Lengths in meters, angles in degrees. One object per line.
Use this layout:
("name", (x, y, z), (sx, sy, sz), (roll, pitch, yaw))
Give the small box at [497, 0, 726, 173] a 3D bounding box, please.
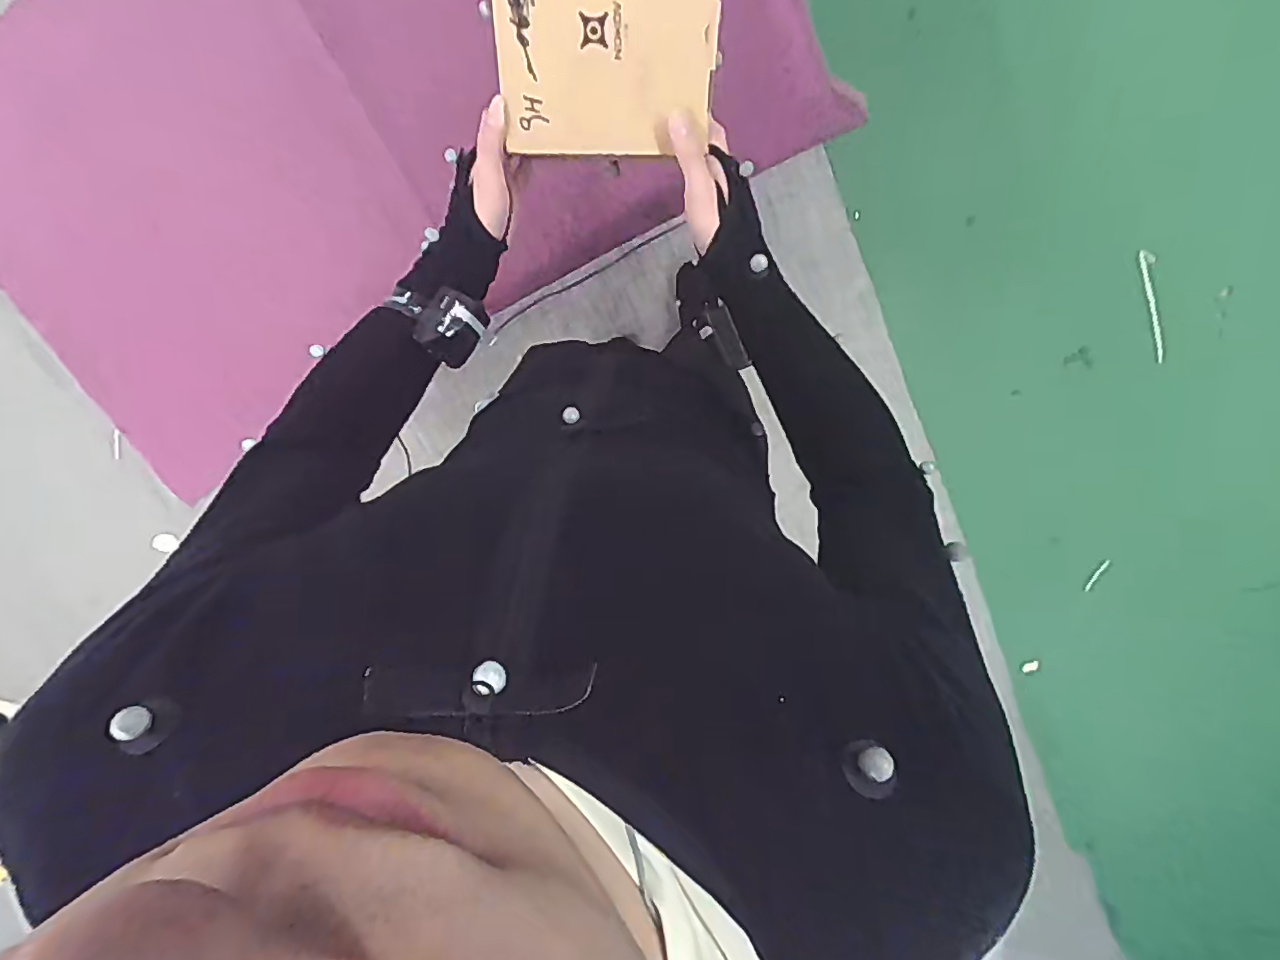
("small box", (-0.025, -0.378, 0.490), (0.179, 0.176, 0.168), (1, 118, -2))
